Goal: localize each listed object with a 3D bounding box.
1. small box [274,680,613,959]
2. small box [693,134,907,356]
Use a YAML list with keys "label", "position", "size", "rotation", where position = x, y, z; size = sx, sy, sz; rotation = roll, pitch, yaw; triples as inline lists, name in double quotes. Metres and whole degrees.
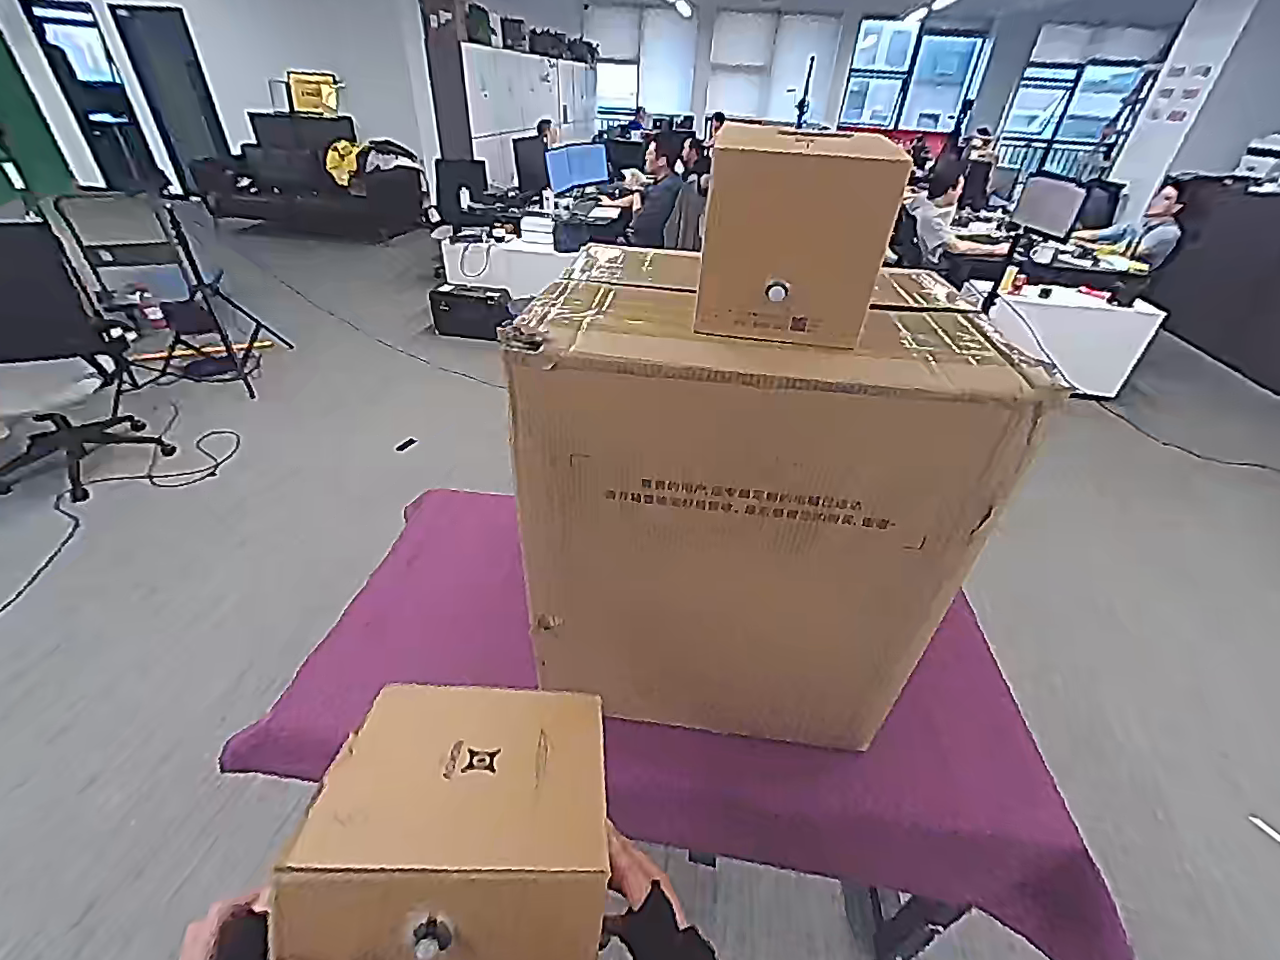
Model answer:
- label: "small box"
  position: [-0.116, 0.262, 0.372]
  size: [0.179, 0.176, 0.168]
  rotation: [7, 12, -7]
- label: "small box"
  position: [0.150, -0.249, 0.563]
  size: [0.168, 0.176, 0.179]
  rotation: [8, 38, 7]
